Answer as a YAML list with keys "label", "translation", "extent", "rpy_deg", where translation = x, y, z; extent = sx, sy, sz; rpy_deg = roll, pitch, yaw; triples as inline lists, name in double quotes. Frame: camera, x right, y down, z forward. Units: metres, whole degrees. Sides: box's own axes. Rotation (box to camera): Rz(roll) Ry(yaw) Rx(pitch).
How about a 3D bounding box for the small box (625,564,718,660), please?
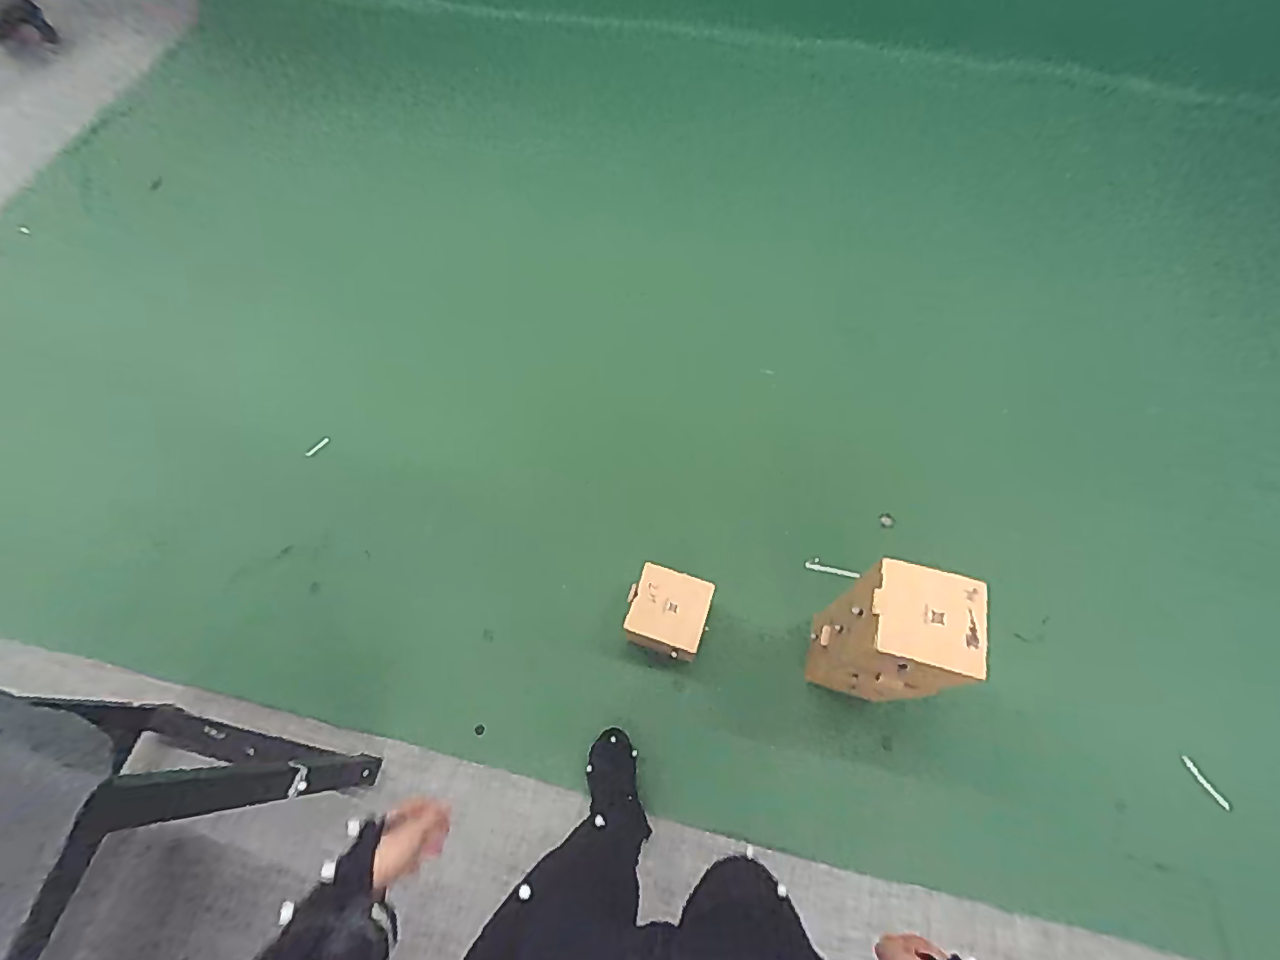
- label: "small box"
  translation: [0.074, 0.324, 1.303]
  extent: [0.179, 0.176, 0.168]
  rpy_deg: [17, 66, 9]

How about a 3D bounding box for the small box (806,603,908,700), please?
- label: "small box"
  translation: [0.507, 0.403, 1.258]
  extent: [0.179, 0.176, 0.168]
  rpy_deg: [15, 67, 8]

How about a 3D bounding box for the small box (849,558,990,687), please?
- label: "small box"
  translation: [0.488, 0.259, 0.963]
  extent: [0.179, 0.176, 0.168]
  rpy_deg: [14, 65, 8]
